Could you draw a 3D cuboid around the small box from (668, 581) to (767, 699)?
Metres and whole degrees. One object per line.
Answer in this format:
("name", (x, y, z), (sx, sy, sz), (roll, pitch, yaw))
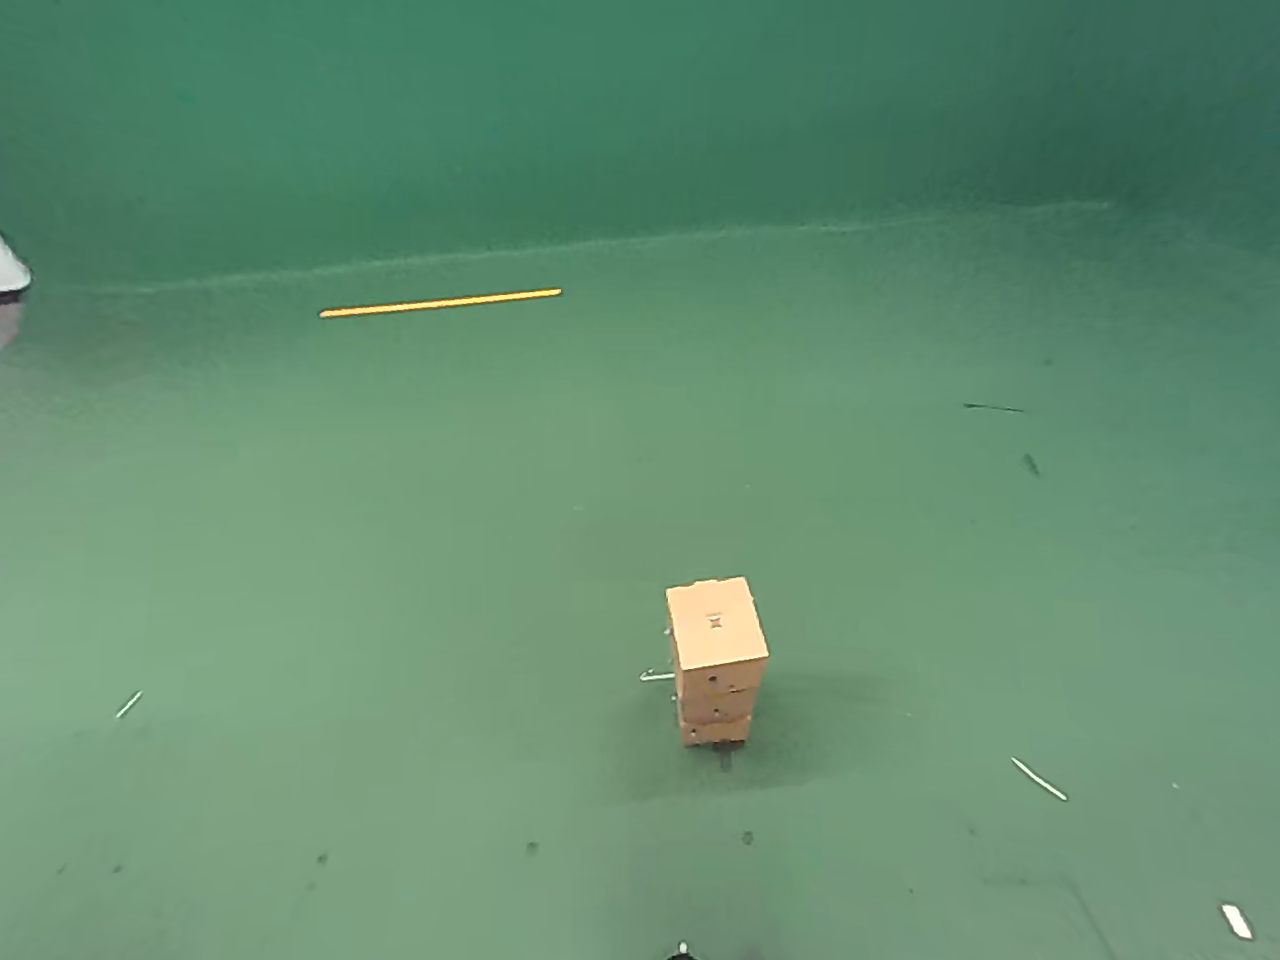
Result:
("small box", (0.155, 0.337, 1.117), (0.168, 0.176, 0.179), (-9, 48, -2))

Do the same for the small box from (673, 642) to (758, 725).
("small box", (0.166, 0.440, 1.242), (0.168, 0.176, 0.179), (-7, 49, 0))
